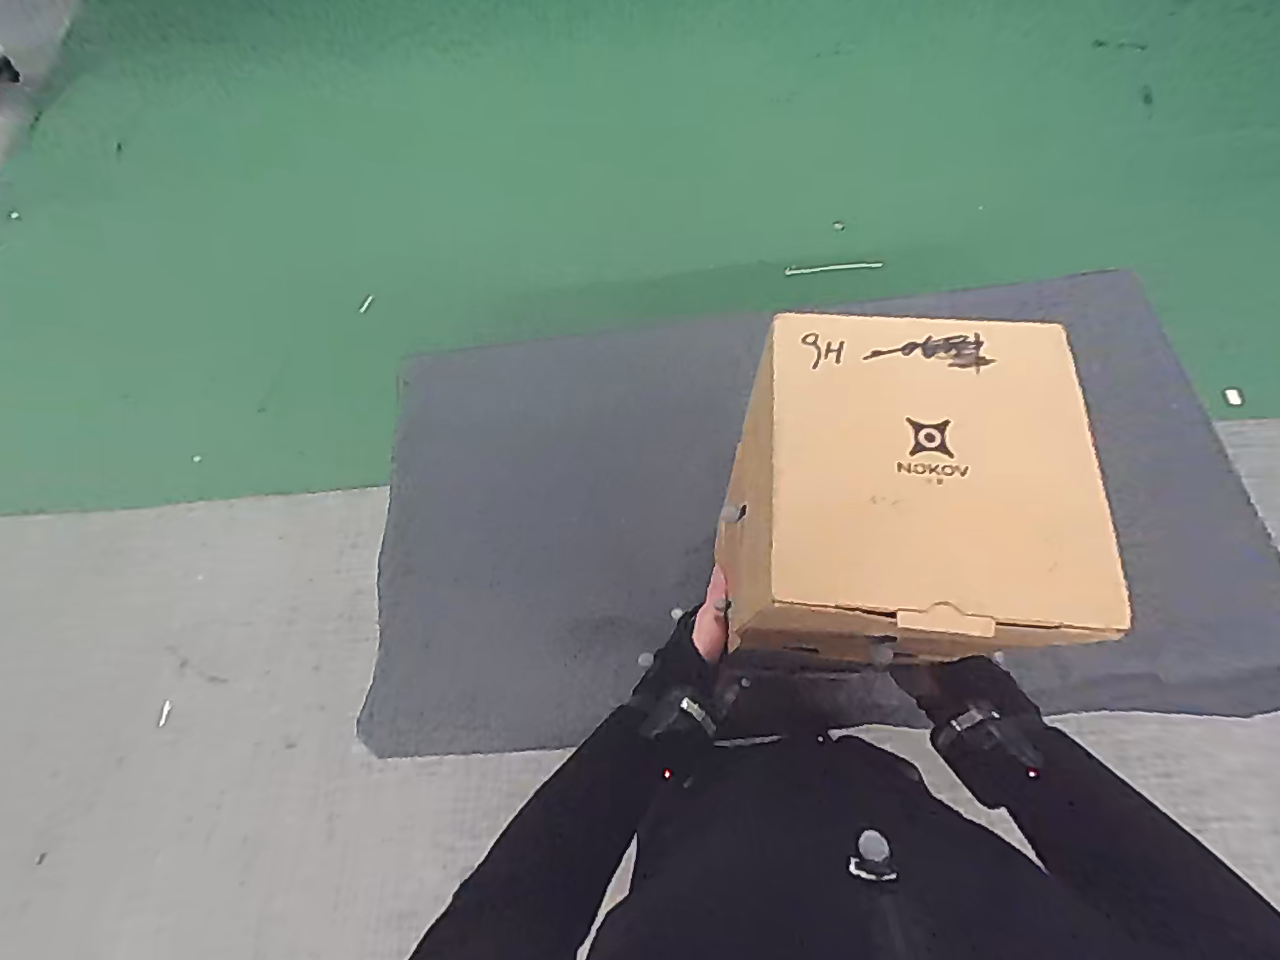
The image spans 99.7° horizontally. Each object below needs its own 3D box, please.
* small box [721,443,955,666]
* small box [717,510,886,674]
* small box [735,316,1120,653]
[{"bbox_3d":[0.166,0.079,0.510,0.168,0.176,0.179,1,68,5],"label":"small box"},{"bbox_3d":[0.182,0.141,0.658,0.168,0.176,0.179,-1,68,5],"label":"small box"},{"bbox_3d":[0.156,0.016,0.359,0.168,0.176,0.179,4,70,6],"label":"small box"}]
